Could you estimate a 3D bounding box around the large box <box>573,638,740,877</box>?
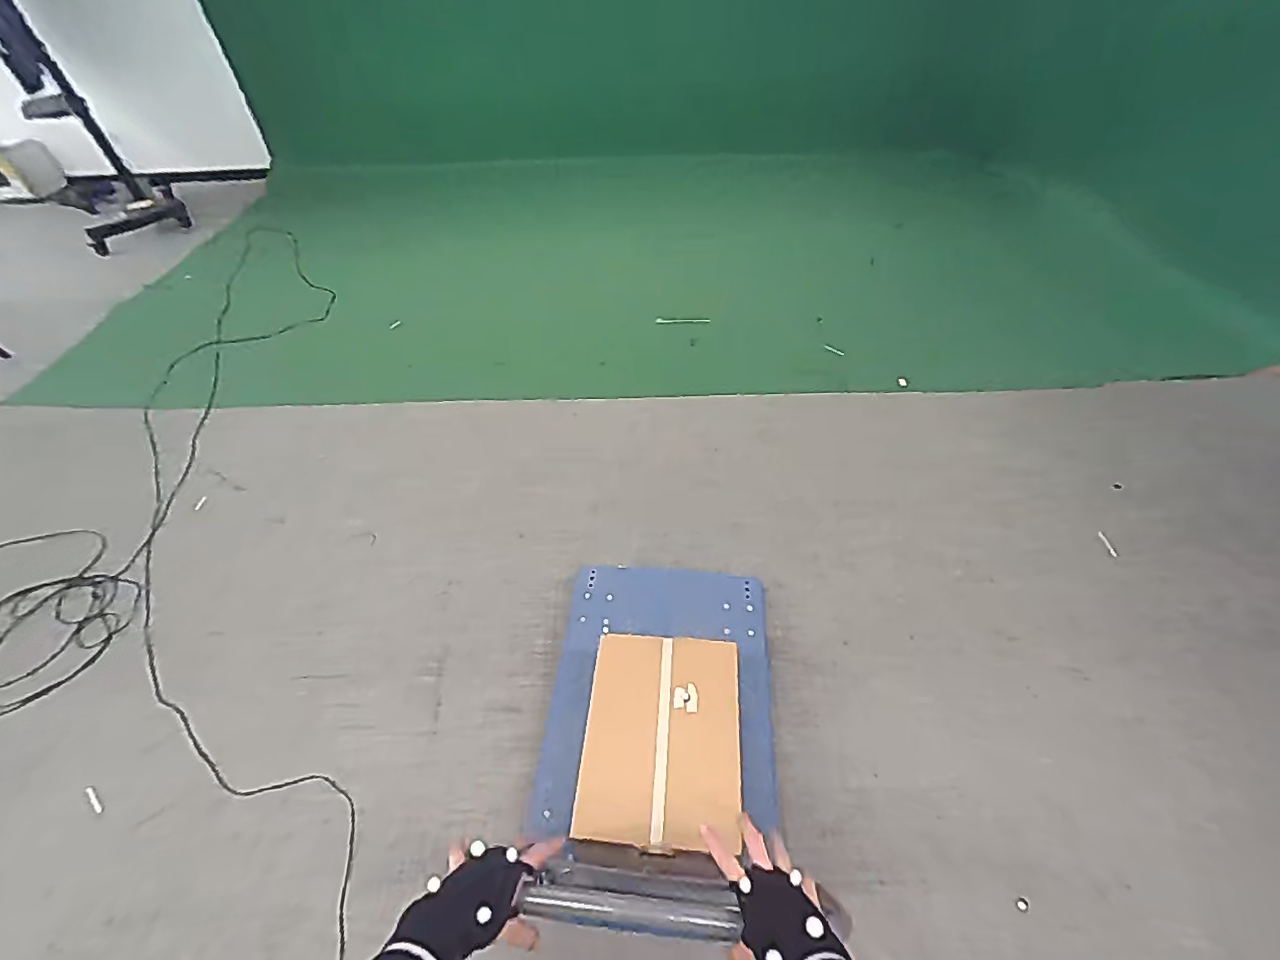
[{"bbox_3d":[0.048,0.620,1.219,0.320,0.320,0.408,3,47,5],"label":"large box"}]
